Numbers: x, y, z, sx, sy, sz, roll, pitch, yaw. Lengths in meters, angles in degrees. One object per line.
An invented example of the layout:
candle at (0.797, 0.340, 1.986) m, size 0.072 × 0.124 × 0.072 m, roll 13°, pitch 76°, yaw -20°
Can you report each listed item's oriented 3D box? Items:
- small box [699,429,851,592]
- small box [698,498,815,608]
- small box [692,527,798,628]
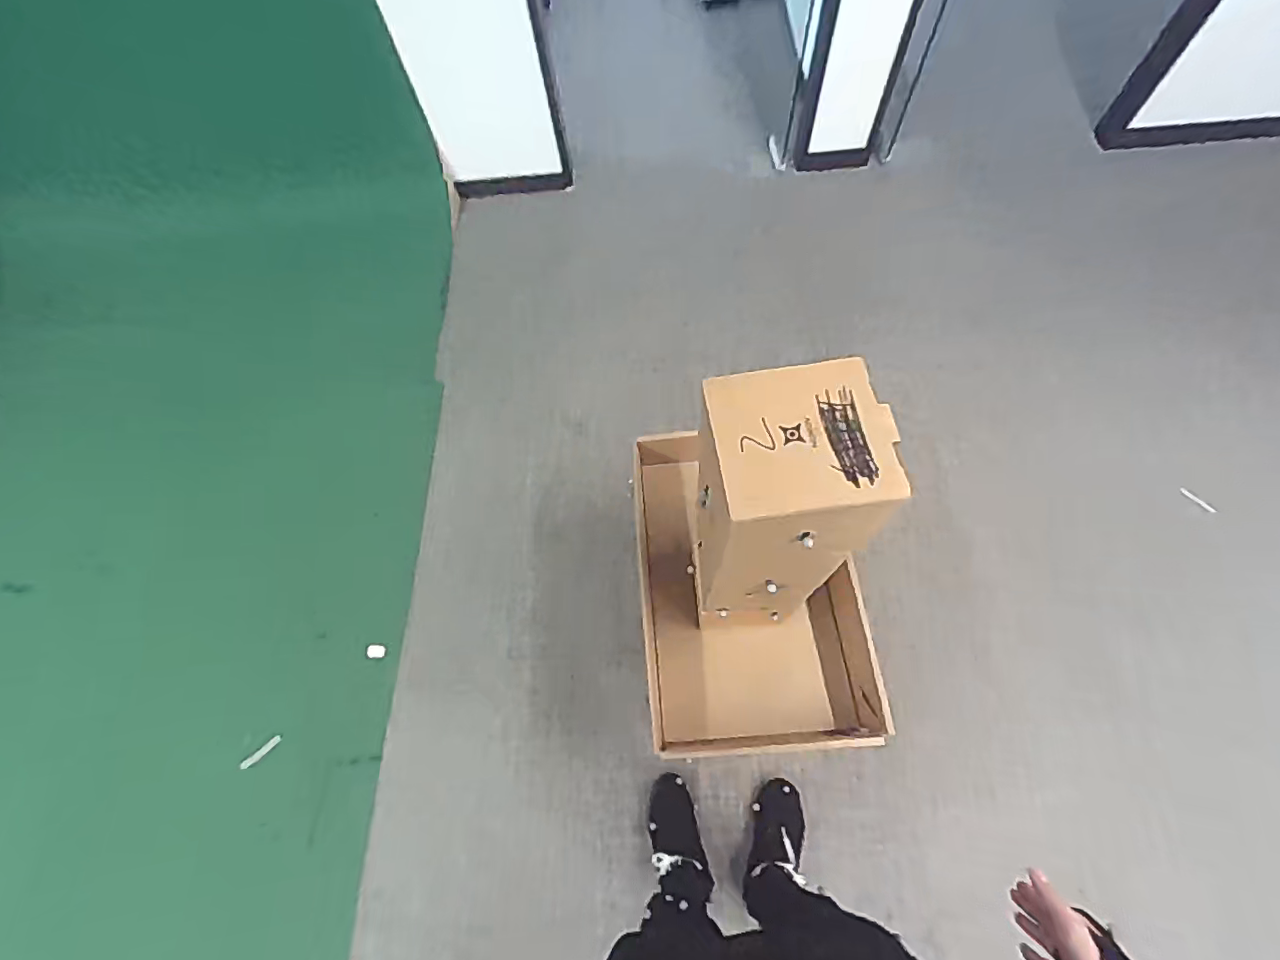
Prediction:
small box at (0.175, 0.049, 0.763) m, size 0.168 × 0.176 × 0.179 m, roll -5°, pitch 65°, yaw 2°
small box at (0.186, 0.116, 0.913) m, size 0.168 × 0.176 × 0.179 m, roll -3°, pitch 64°, yaw 2°
small box at (0.195, 0.190, 1.059) m, size 0.179 × 0.176 × 0.168 m, roll -5°, pitch 65°, yaw 2°
